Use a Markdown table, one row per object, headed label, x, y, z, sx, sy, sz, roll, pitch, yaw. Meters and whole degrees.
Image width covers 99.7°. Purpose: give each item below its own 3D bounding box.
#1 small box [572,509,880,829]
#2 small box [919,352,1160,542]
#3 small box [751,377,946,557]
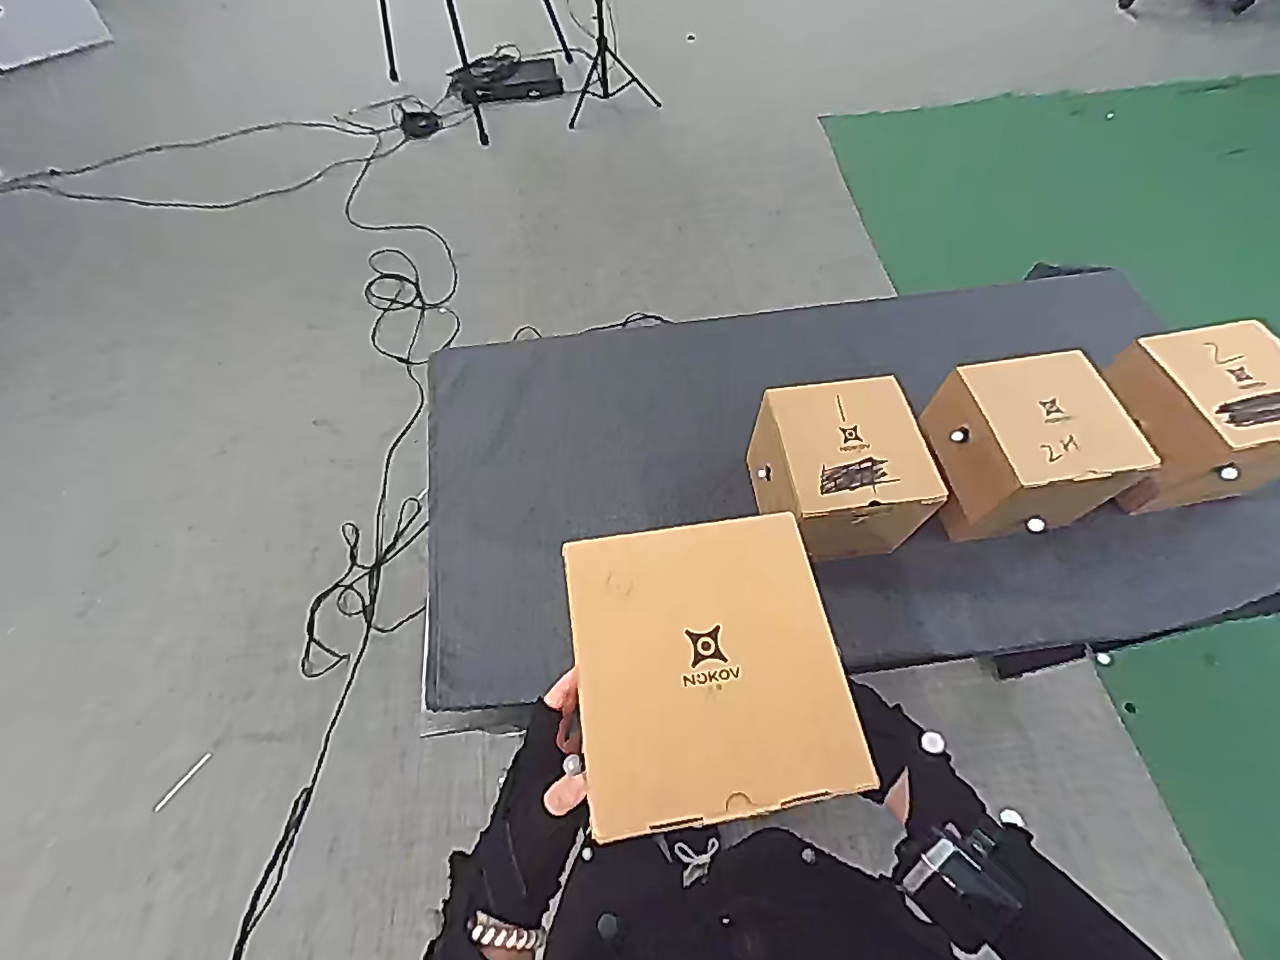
| label | x | y | z | sx | sy | sz | roll | pitch | yaw |
| --- | --- | --- | --- | --- | --- | --- | --- | --- | --- |
| small box | 0.040 | 0.142 | 0.407 | 0.168 | 0.176 | 0.179 | -7 | 63 | -6 |
| small box | 0.489 | -0.038 | 0.707 | 0.168 | 0.176 | 0.179 | -8 | 62 | -2 |
| small box | 0.249 | -0.006 | 0.697 | 0.168 | 0.176 | 0.179 | -6 | 61 | -2 |
